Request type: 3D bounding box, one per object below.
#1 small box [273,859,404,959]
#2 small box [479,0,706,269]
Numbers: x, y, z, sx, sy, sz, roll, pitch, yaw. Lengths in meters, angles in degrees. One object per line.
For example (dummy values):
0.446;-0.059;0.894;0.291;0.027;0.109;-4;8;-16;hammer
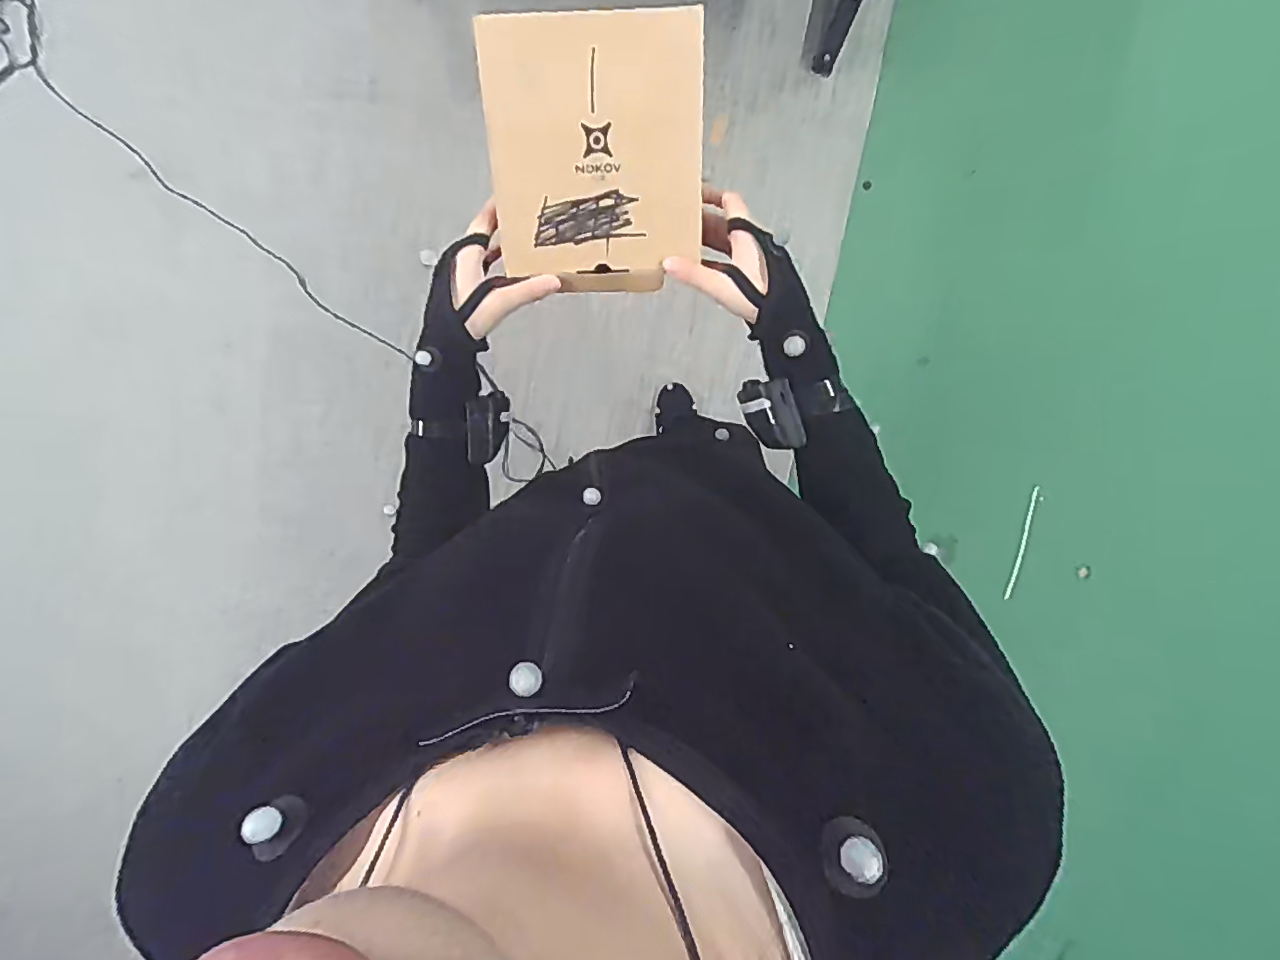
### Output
-0.599;0.903;1.092;0.168;0.176;0.179;-3;93;3;small box
-0.032;-0.291;0.490;0.168;0.176;0.179;-1;114;0;small box
